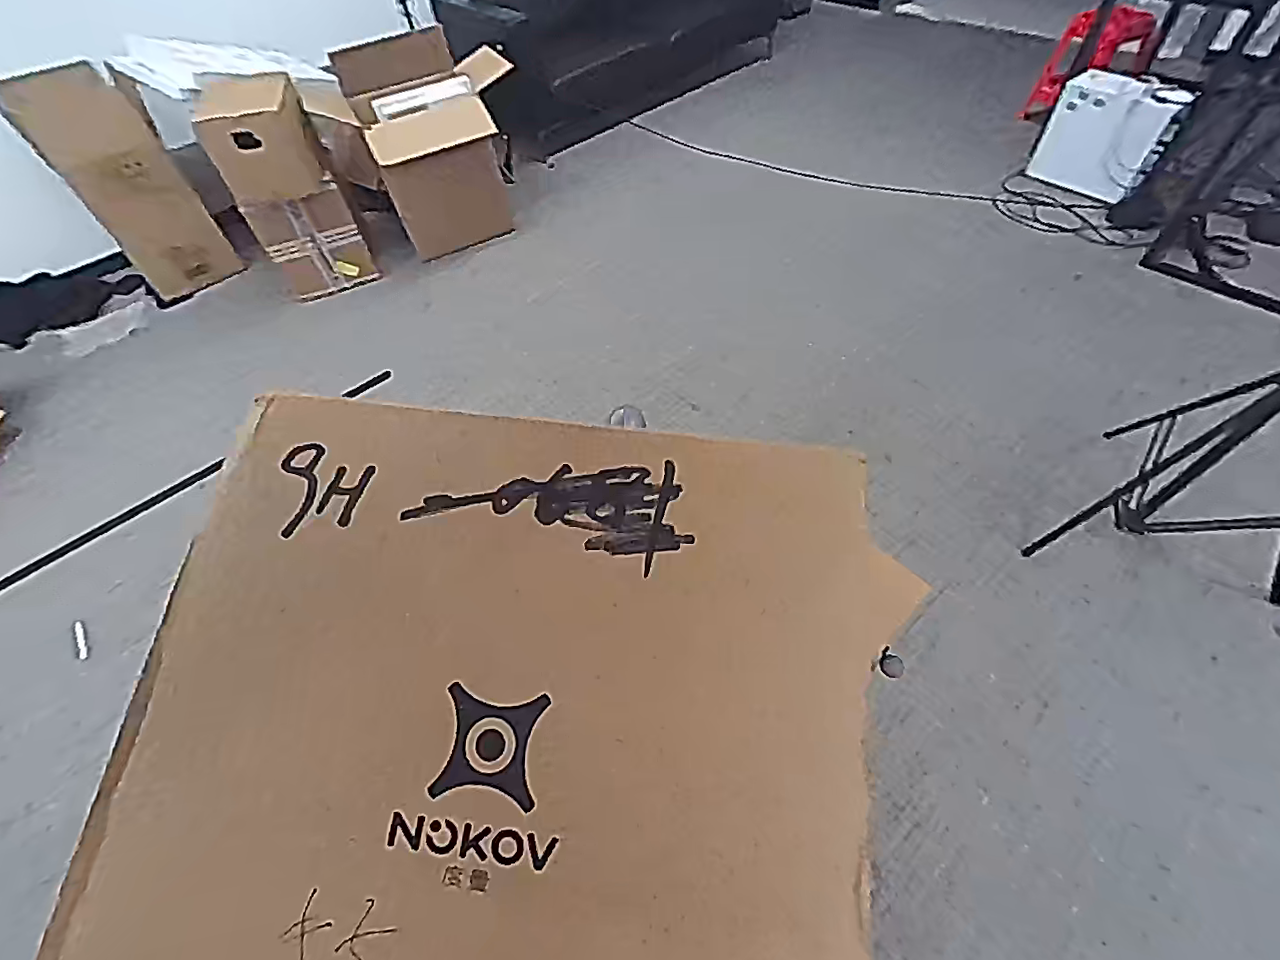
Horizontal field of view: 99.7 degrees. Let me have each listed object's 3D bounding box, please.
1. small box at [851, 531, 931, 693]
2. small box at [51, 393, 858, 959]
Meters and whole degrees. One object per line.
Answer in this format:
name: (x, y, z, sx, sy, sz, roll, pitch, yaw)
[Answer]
small box: (0.086, 0.121, 0.433, 0.179, 0.176, 0.168, -38, 58, -18)
small box: (-0.033, 0.089, 0.198, 0.168, 0.176, 0.179, 6, 74, 4)
